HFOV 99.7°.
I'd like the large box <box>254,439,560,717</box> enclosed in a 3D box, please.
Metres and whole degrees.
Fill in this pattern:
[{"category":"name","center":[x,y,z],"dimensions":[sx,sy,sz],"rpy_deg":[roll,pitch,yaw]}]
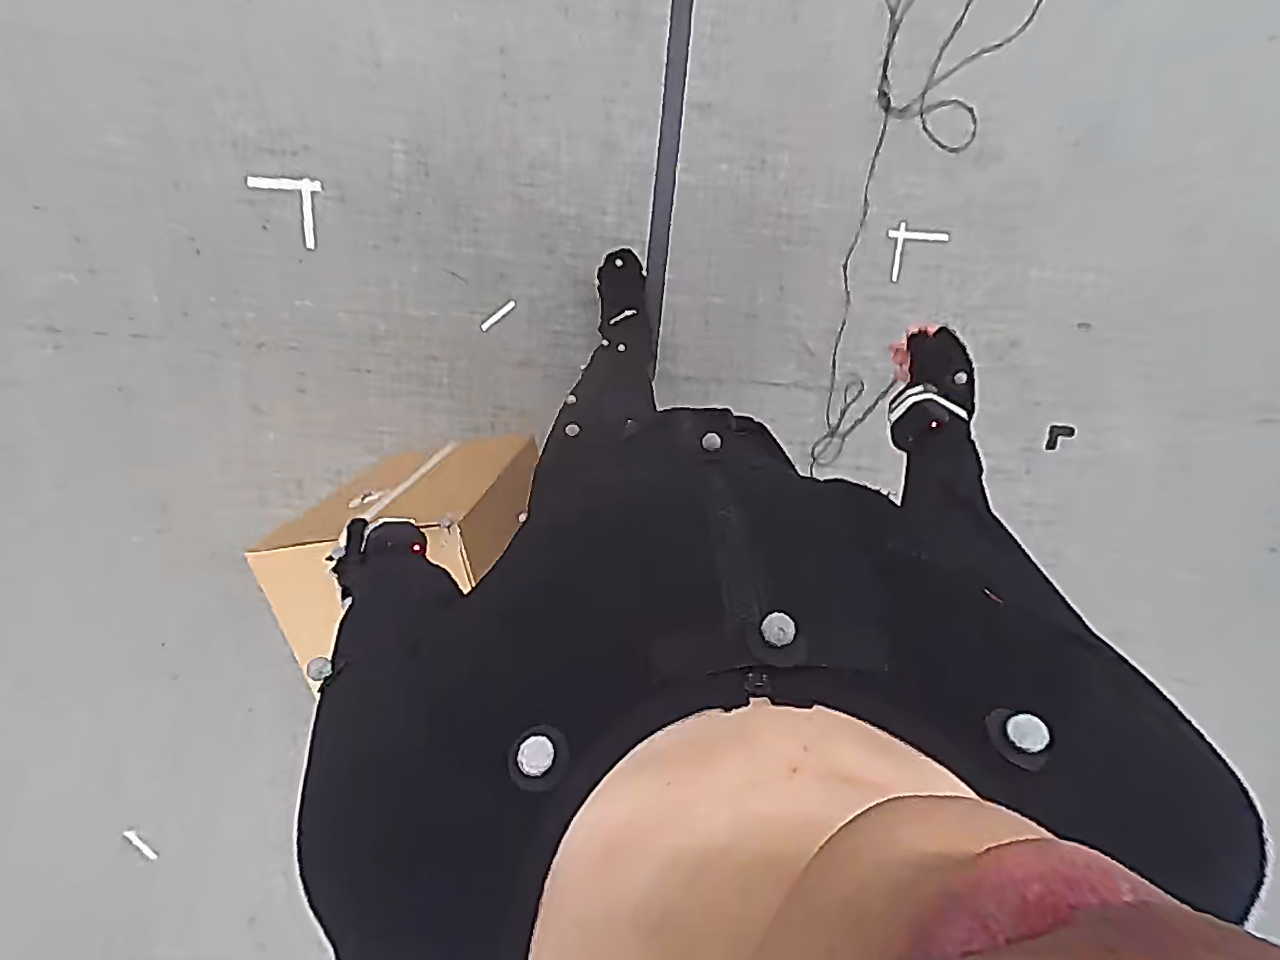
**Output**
[{"category":"large box","center":[-0.354,0.147,0.967],"dimensions":[0.320,0.408,0.320],"rpy_deg":[-9,110,8]}]
